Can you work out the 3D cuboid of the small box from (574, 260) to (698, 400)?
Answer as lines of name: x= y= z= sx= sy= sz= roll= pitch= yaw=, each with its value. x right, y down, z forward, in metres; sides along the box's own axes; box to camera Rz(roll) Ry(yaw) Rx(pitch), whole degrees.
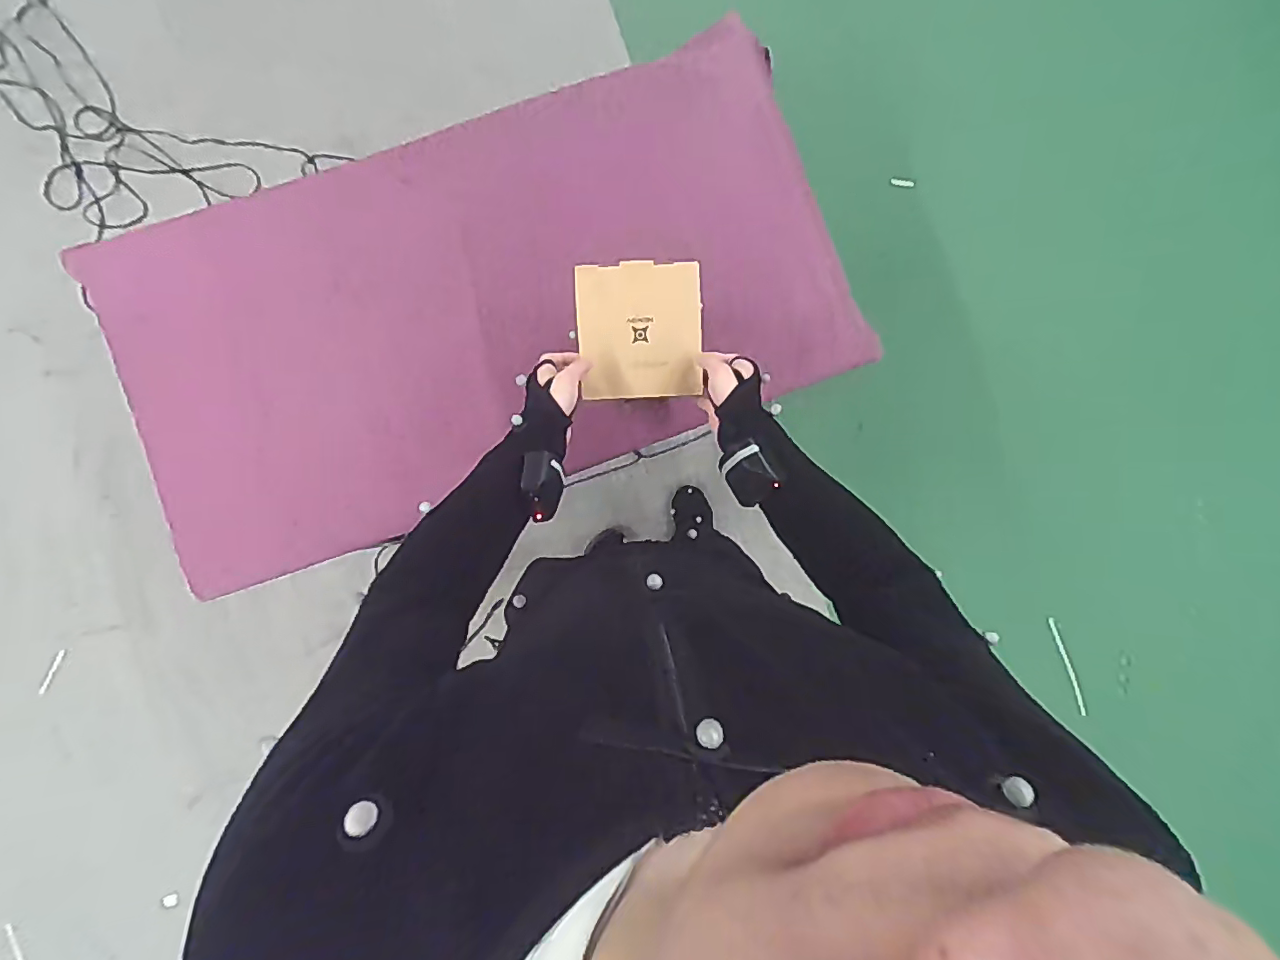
small box: x=-0.009 y=-0.209 z=0.791 sx=0.168 sy=0.176 sz=0.179 roll=-2 pitch=99 yaw=-2
